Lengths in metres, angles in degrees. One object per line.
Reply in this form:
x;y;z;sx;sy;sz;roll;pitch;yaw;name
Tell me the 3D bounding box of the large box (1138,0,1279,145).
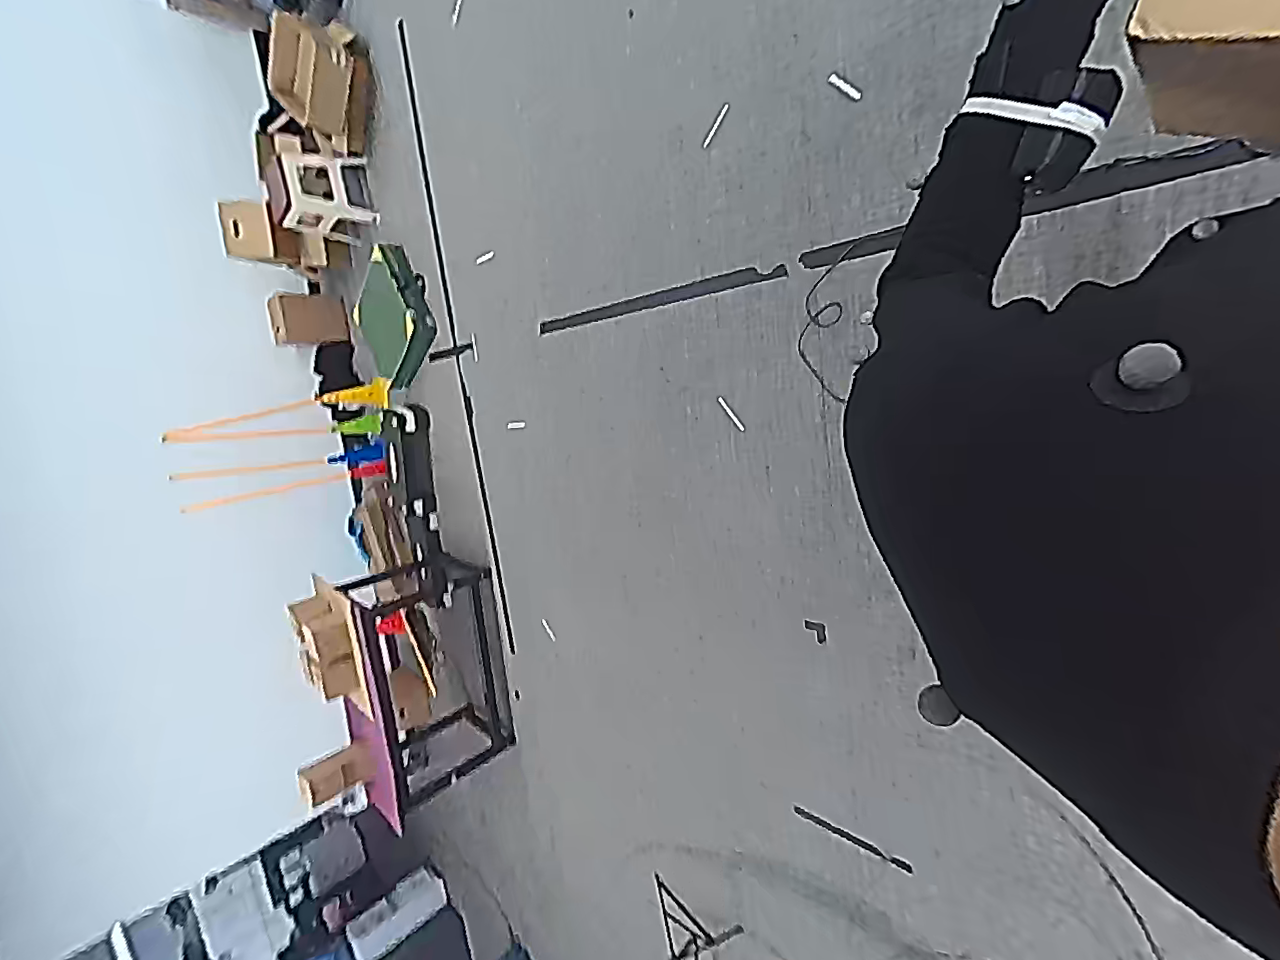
0.563;-0.354;0.251;0.408;0.320;0.320;31;125;34;large box
